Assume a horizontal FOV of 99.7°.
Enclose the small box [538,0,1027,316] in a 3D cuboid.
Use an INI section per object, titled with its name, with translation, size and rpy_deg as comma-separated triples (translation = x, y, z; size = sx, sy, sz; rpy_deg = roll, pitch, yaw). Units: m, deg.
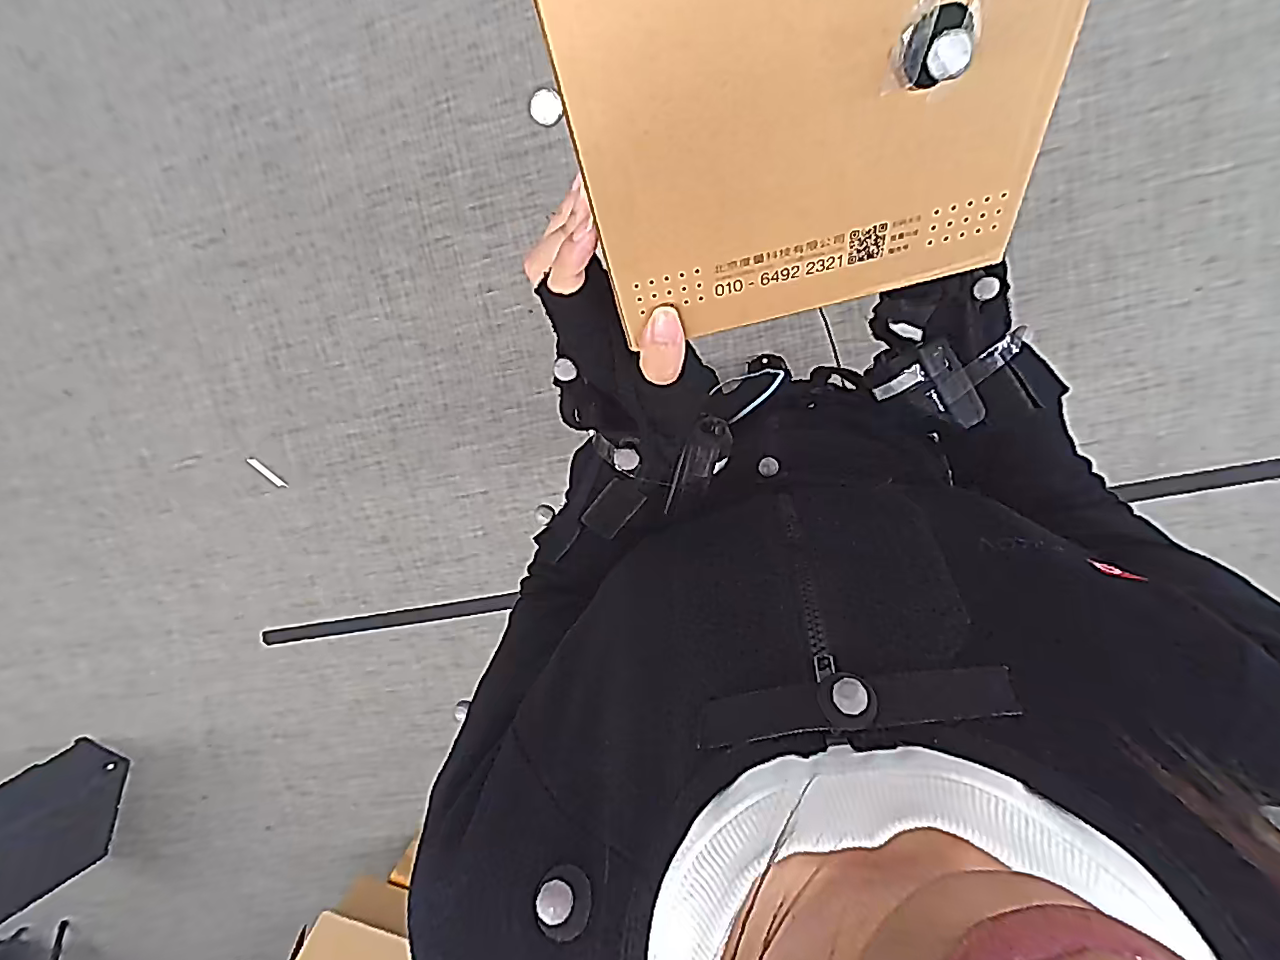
[small box]
translation = 0.052, -0.196, 0.251
size = 0.168, 0.179, 0.176
rpy_deg = -12, 140, 5
